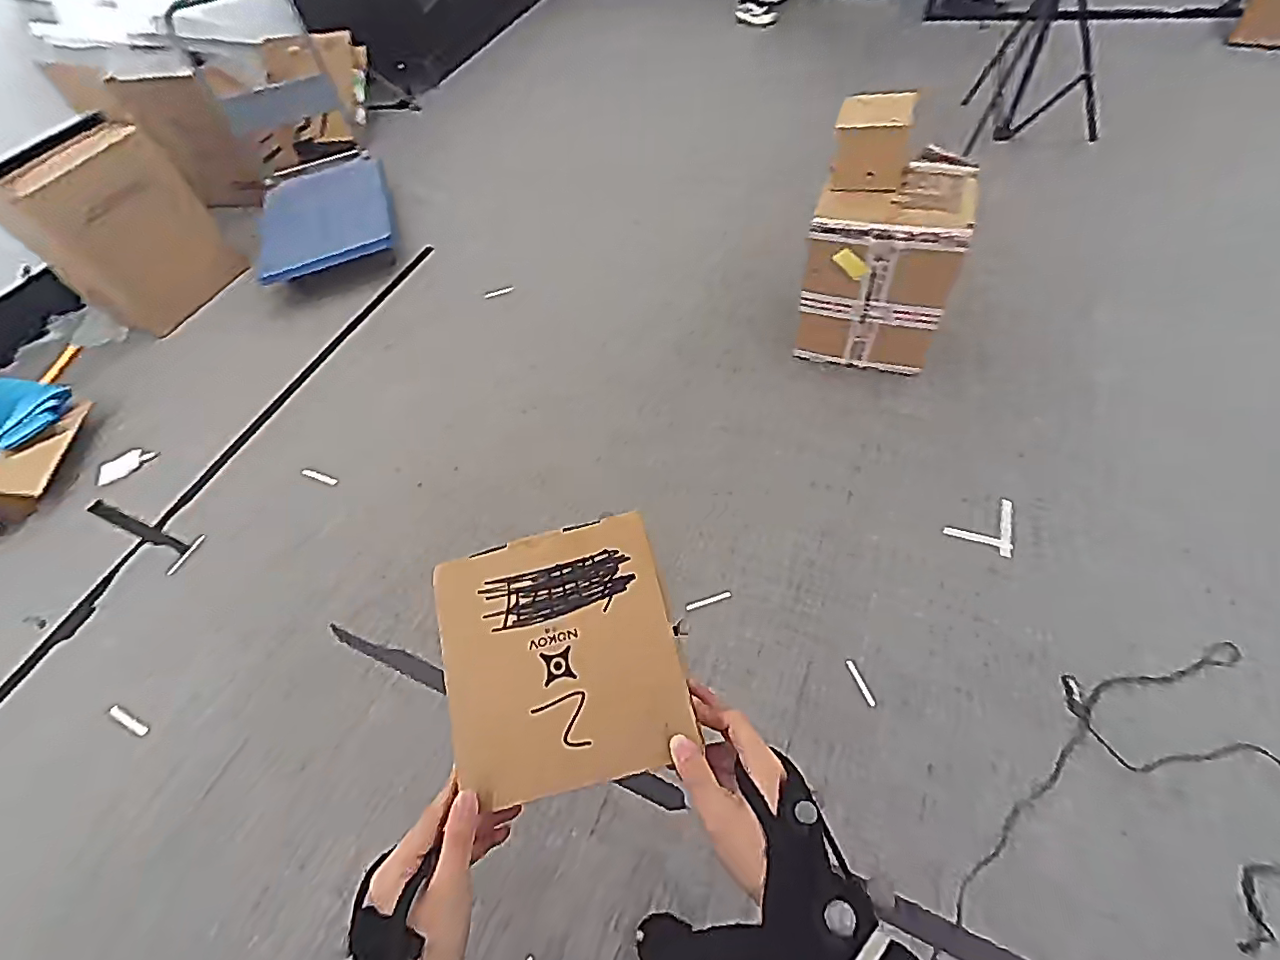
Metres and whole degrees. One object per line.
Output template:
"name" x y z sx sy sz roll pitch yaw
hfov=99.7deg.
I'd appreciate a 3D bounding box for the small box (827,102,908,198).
"small box" 0.611 -0.889 1.454 0.179 0.176 0.168 11 60 20
